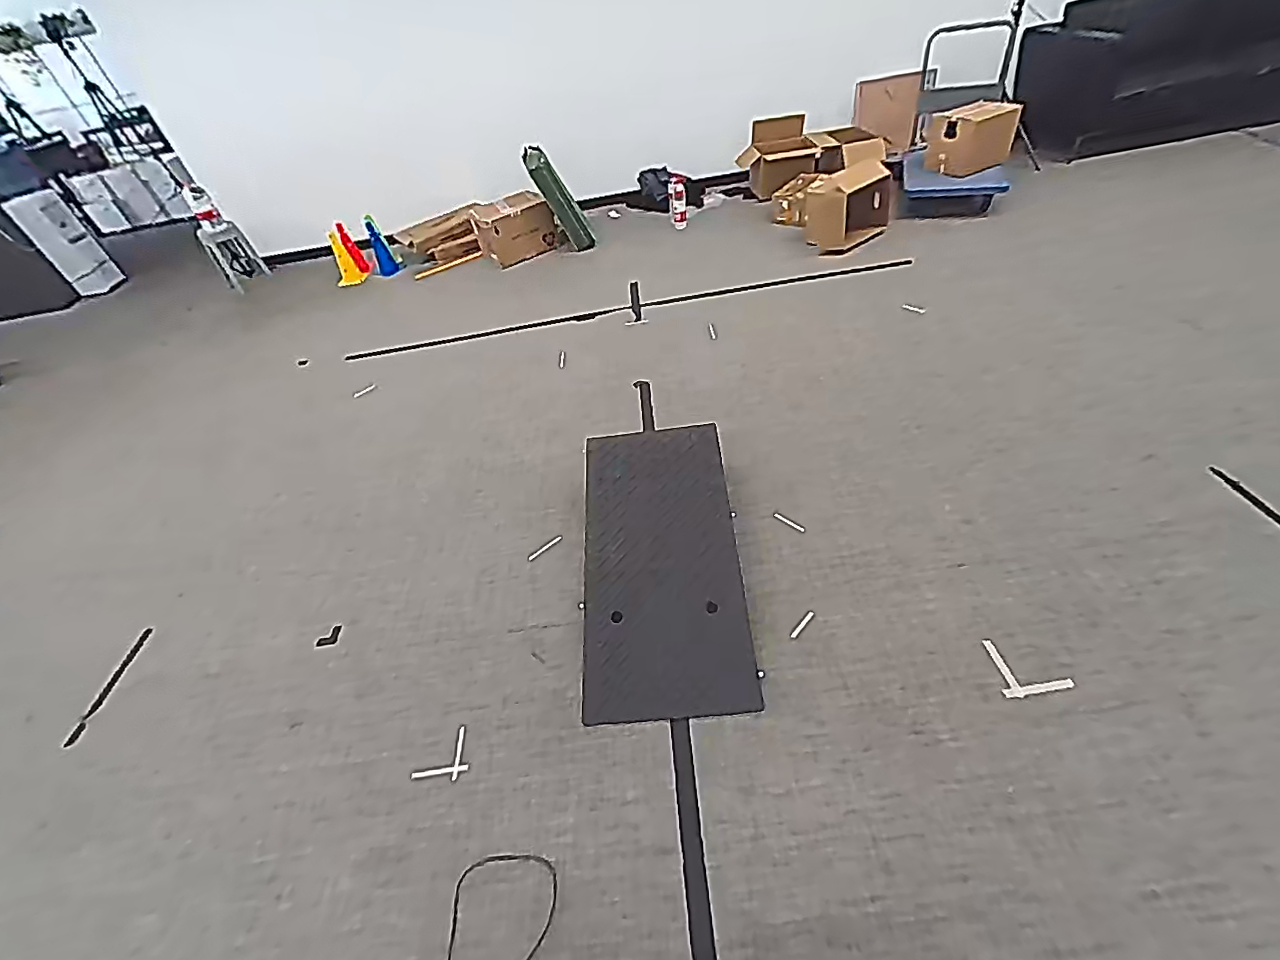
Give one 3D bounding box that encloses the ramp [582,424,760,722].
[{"bbox_3d":[0.061,0.227,1.738,0.509,0.206,0.991,-7,44,3],"label":"ramp"}]
